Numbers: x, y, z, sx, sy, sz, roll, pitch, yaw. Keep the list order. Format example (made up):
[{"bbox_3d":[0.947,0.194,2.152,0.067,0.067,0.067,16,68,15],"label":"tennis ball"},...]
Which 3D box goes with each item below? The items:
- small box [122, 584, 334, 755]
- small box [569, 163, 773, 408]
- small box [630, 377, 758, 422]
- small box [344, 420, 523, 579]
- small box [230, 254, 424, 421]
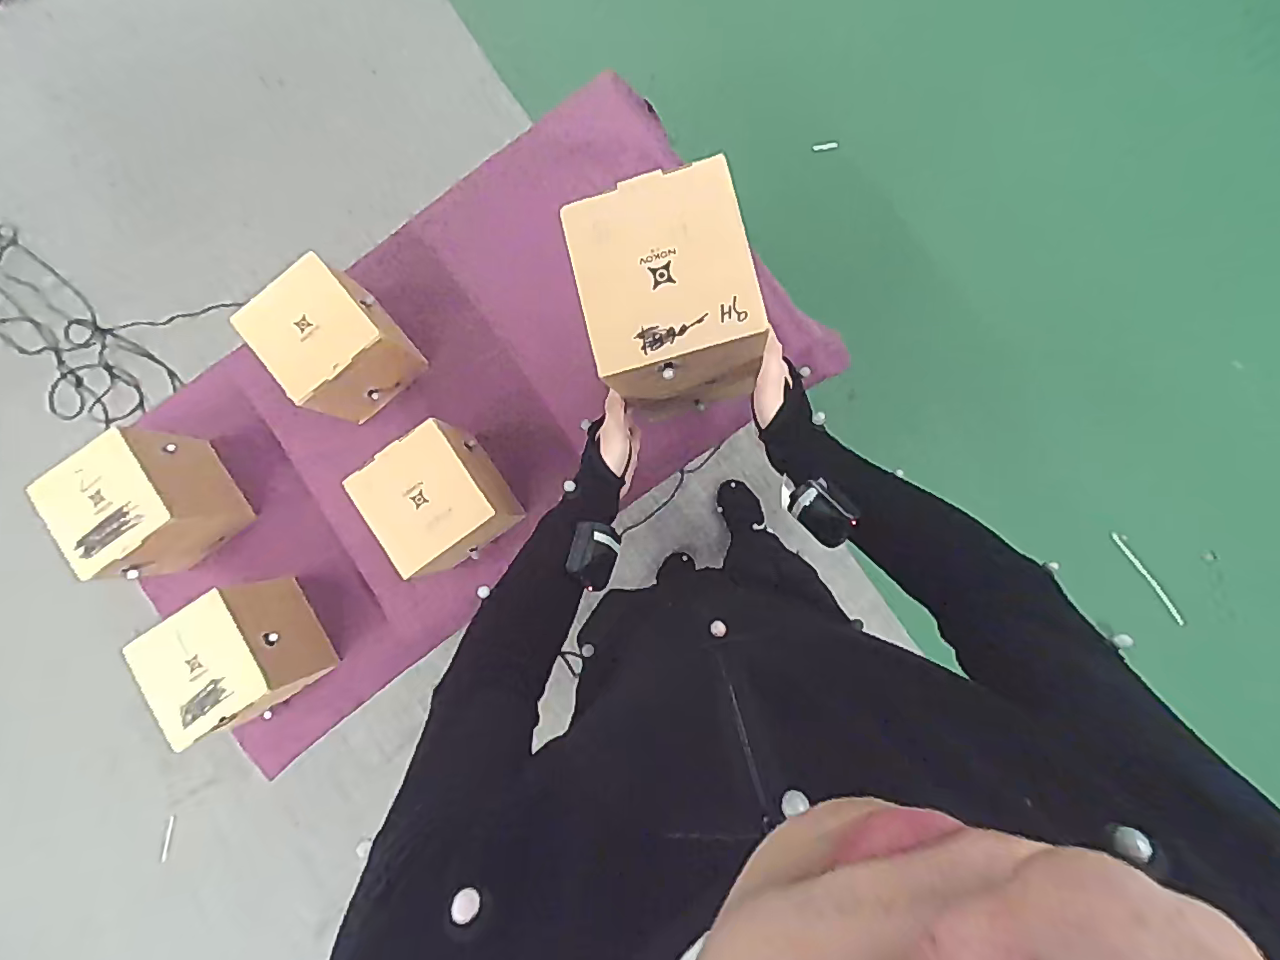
[{"bbox_3d":[-0.627,0.281,0.847,0.168,0.176,0.179,-33,84,-1],"label":"small box"},{"bbox_3d":[0.038,-0.191,0.585,0.168,0.176,0.179,-13,86,9],"label":"small box"},{"bbox_3d":[0.059,-0.193,0.748,0.168,0.176,0.179,-15,86,9],"label":"small box"},{"bbox_3d":[-0.313,0.034,0.854,0.168,0.176,0.179,-35,85,1],"label":"small box"},{"bbox_3d":[-0.494,-0.219,0.880,0.168,0.176,0.179,-40,86,-1],"label":"small box"}]
